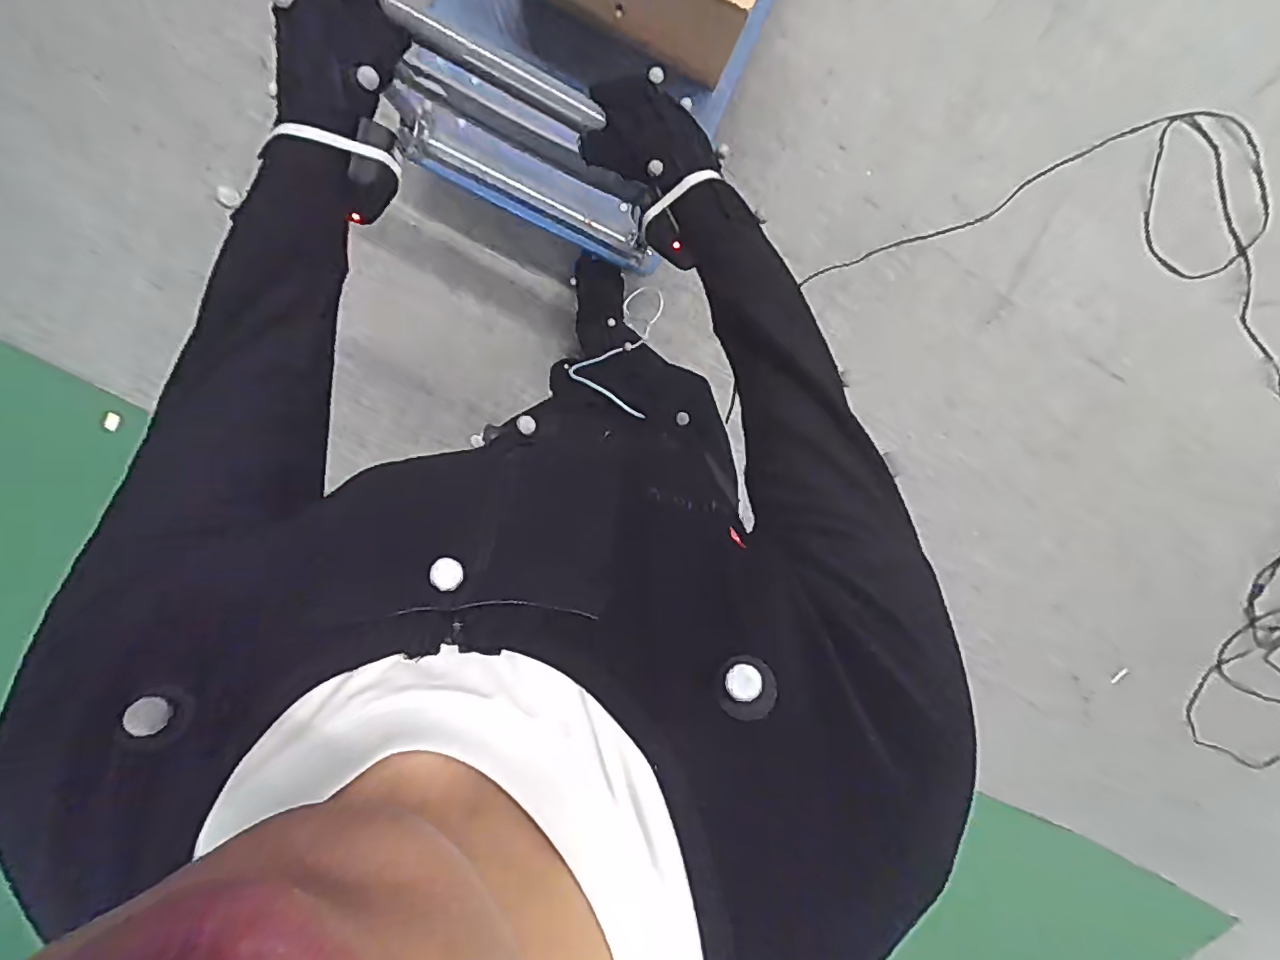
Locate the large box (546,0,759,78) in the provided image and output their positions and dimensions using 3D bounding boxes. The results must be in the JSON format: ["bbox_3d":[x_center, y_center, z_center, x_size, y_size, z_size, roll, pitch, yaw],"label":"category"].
[{"bbox_3d":[0.033,-0.940,0.865,0.408,0.320,0.320,20,107,-8],"label":"large box"}]
